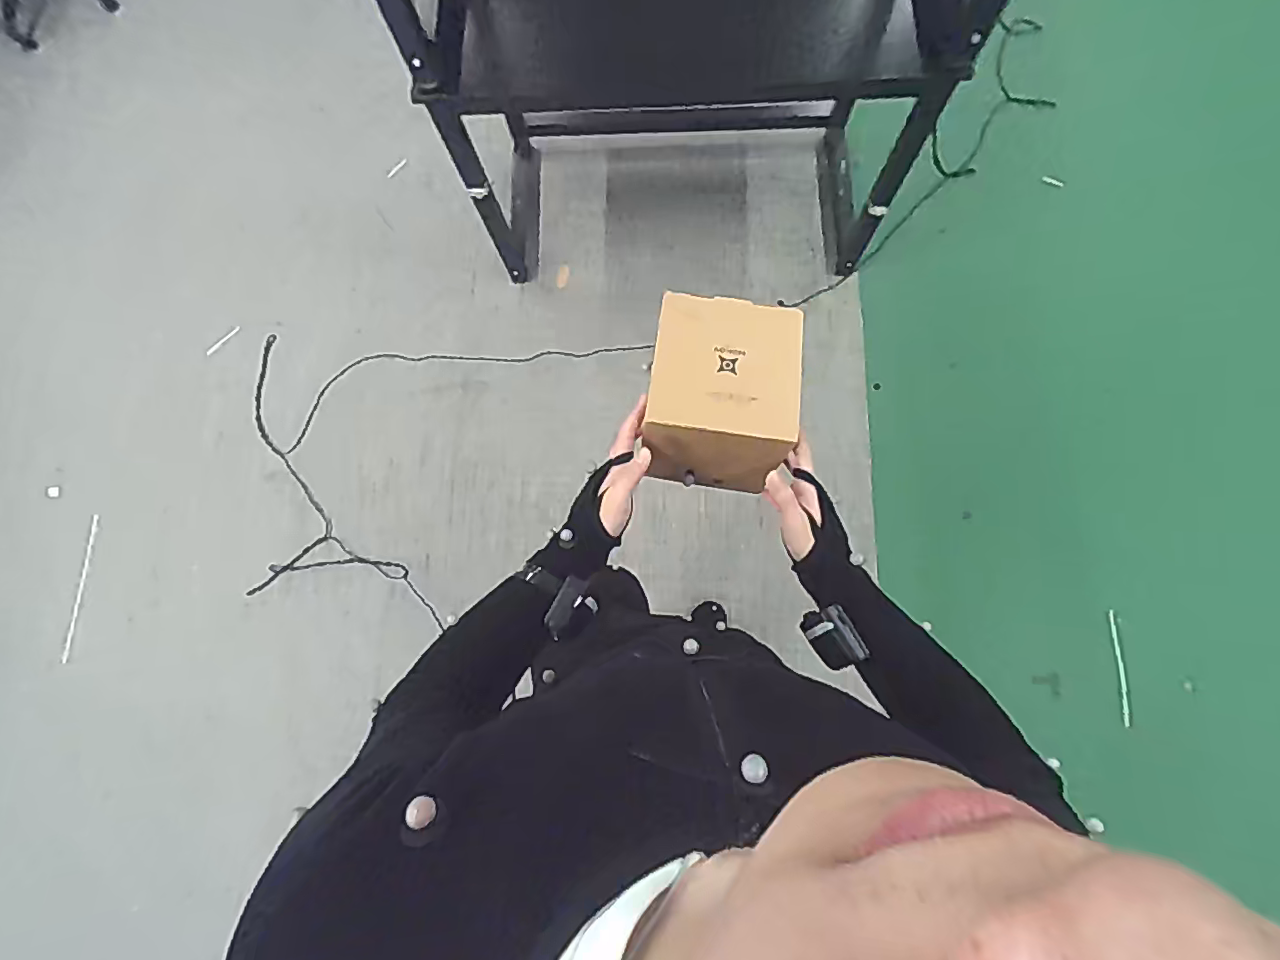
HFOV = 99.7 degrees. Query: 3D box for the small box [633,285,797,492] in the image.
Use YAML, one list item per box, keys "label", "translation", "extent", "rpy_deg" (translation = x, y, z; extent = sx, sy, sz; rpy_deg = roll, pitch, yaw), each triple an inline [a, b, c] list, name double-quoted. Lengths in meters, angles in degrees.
- label: "small box"
  translation: [0.084, -0.104, 0.663]
  extent: [0.168, 0.176, 0.179]
  rpy_deg: [8, 69, 1]
